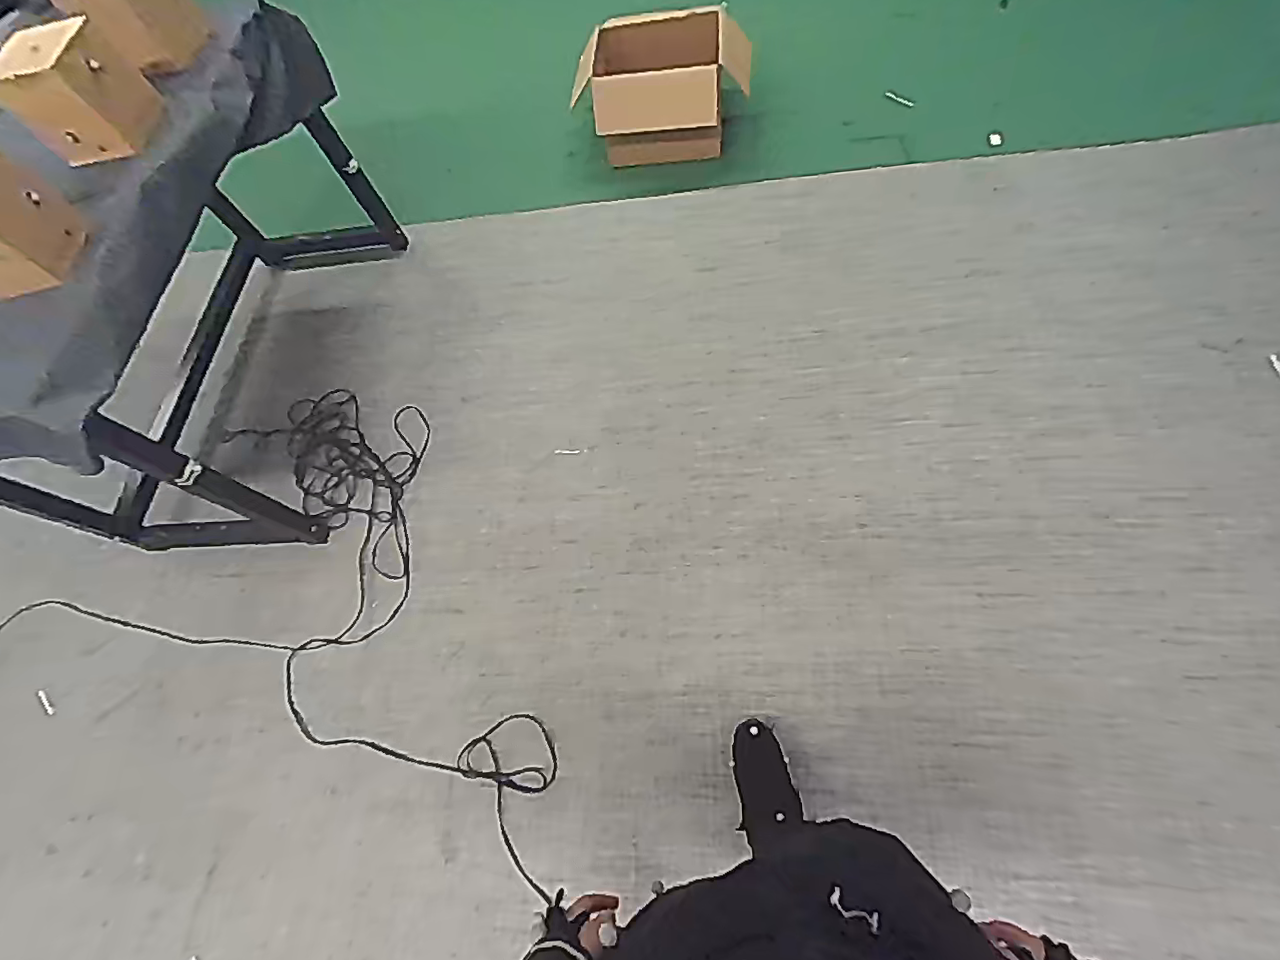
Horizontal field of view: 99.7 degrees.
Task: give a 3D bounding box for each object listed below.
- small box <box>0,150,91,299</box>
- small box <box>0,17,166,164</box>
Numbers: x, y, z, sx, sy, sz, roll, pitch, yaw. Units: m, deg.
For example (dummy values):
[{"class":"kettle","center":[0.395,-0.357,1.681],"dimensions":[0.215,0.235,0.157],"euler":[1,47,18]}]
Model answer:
[{"class":"small box","center":[-1.131,-0.442,0.939],"dimensions":[0.179,0.176,0.168],"euler":[-12,62,5]},{"class":"small box","center":[-1.124,-0.782,1.095],"dimensions":[0.168,0.176,0.179],"euler":[-5,66,7]}]
